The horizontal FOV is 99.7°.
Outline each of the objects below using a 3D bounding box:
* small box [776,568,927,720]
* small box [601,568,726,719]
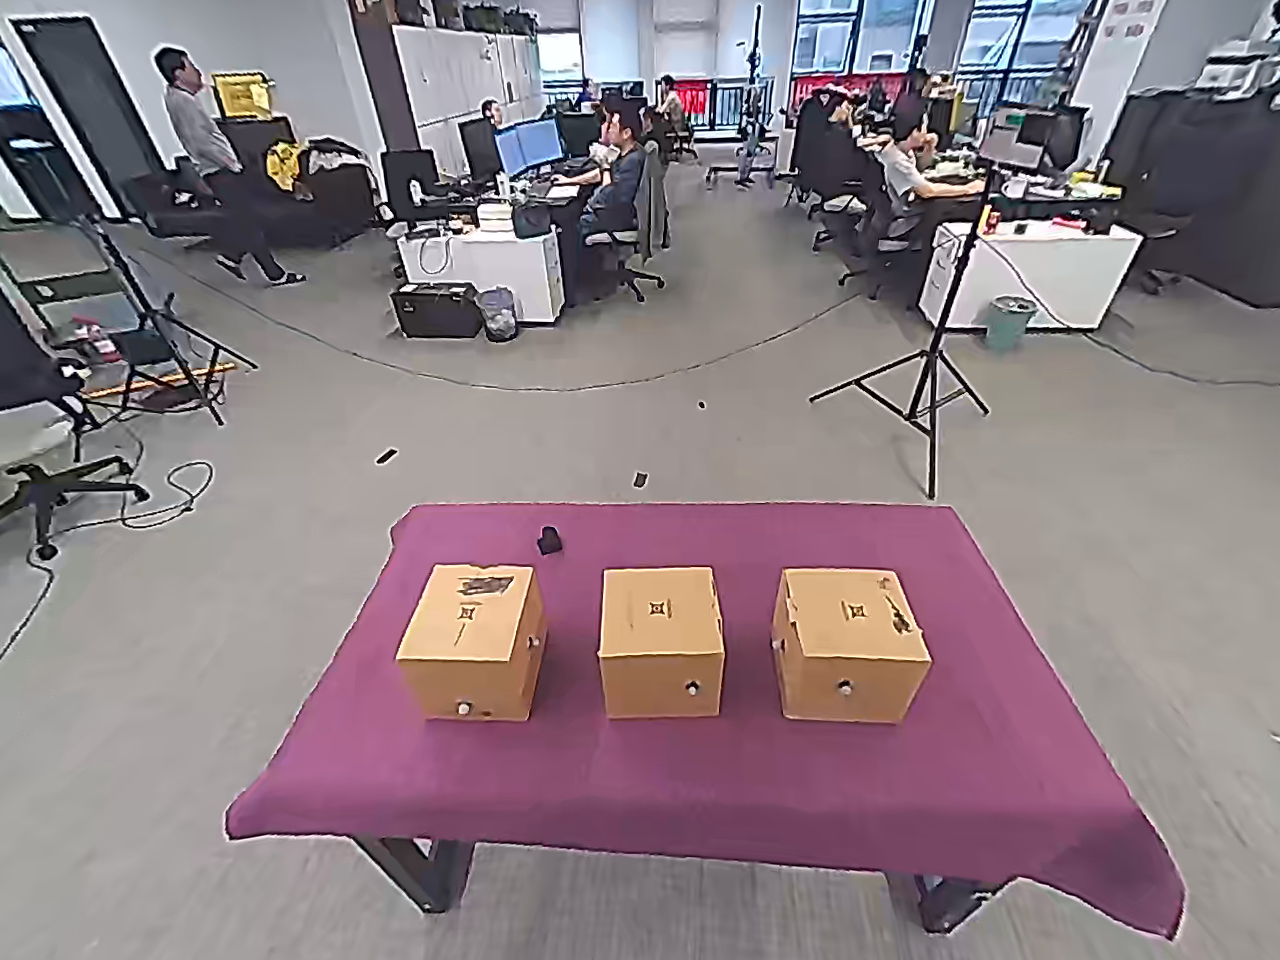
[{"bbox_3d":[0.313,0.256,0.847,0.179,0.176,0.168,0,38,4],"label":"small box"},{"bbox_3d":[0.034,0.260,0.860,0.179,0.176,0.168,-3,36,1],"label":"small box"}]
